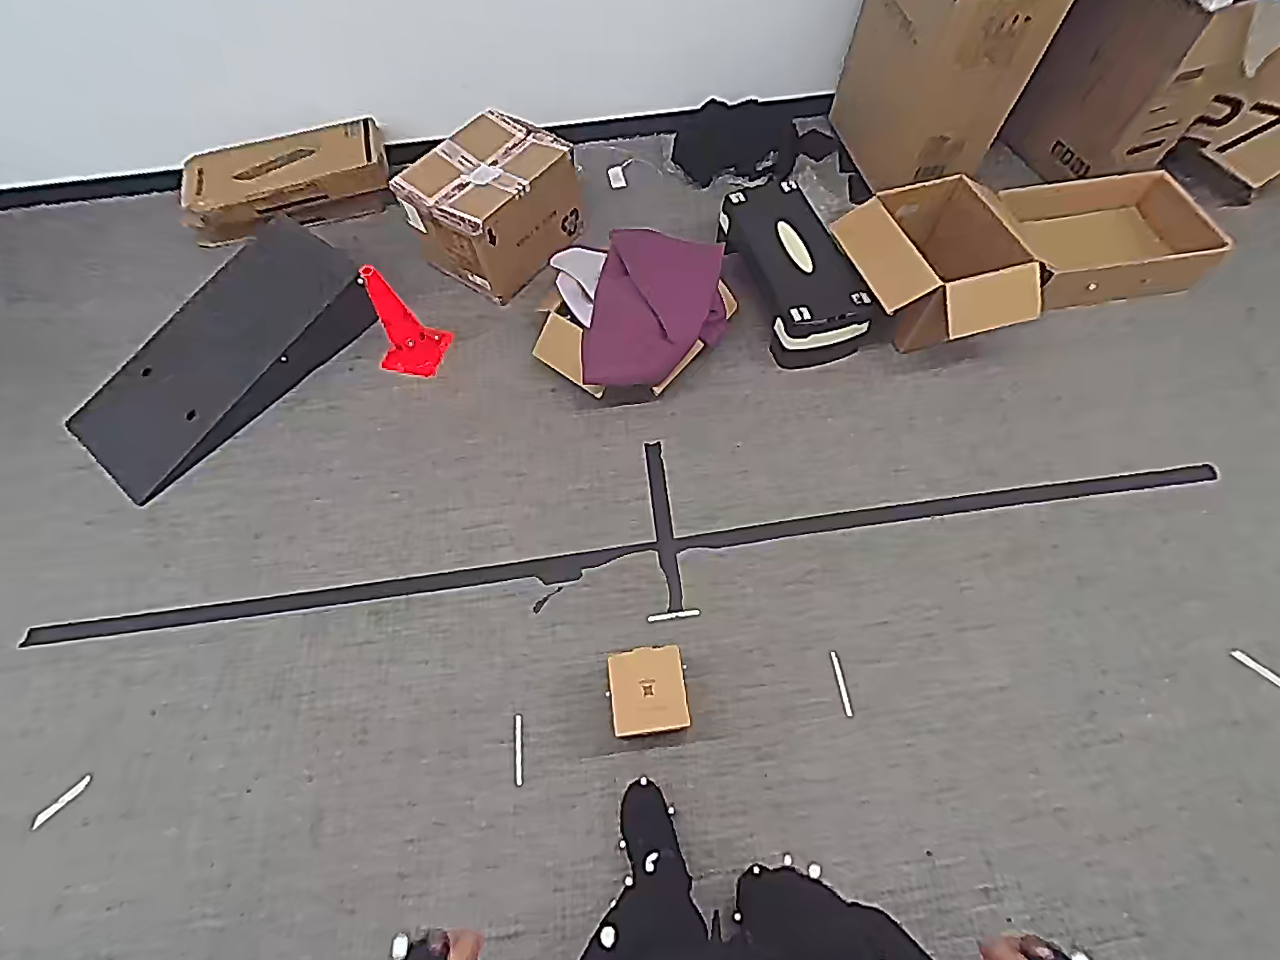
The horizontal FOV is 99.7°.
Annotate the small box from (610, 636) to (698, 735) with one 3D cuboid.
[{"bbox_3d":[0.028,0.455,1.187,0.168,0.176,0.179,-8,65,-1],"label":"small box"}]
